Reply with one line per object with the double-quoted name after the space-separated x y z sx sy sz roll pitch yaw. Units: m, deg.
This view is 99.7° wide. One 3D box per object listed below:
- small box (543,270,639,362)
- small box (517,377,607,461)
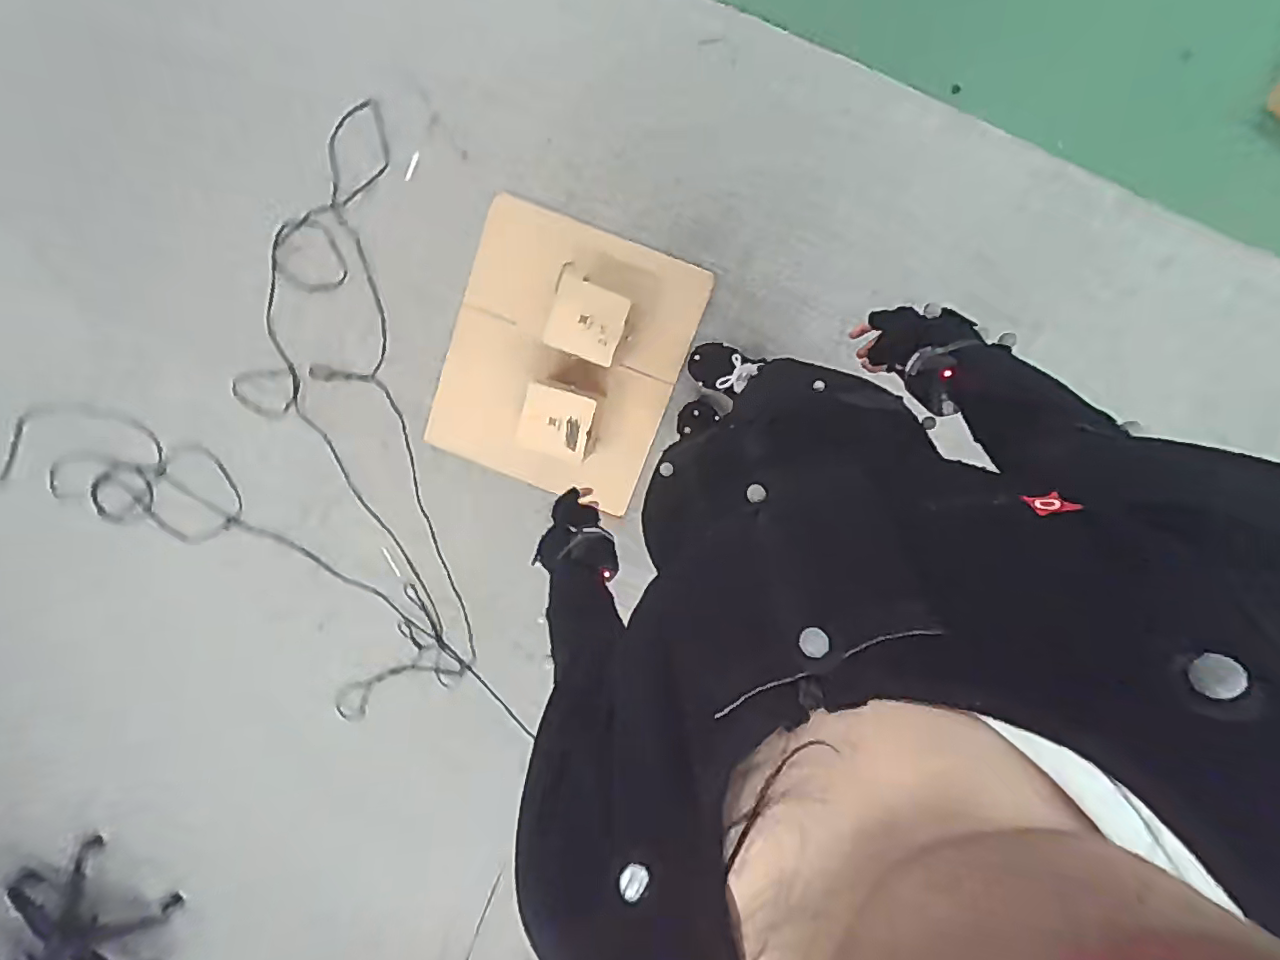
-0.114 -0.396 1.331 0.179 0.176 0.168 21 105 0 "small box"
-0.193 -0.164 1.387 0.179 0.176 0.168 17 104 2 "small box"
